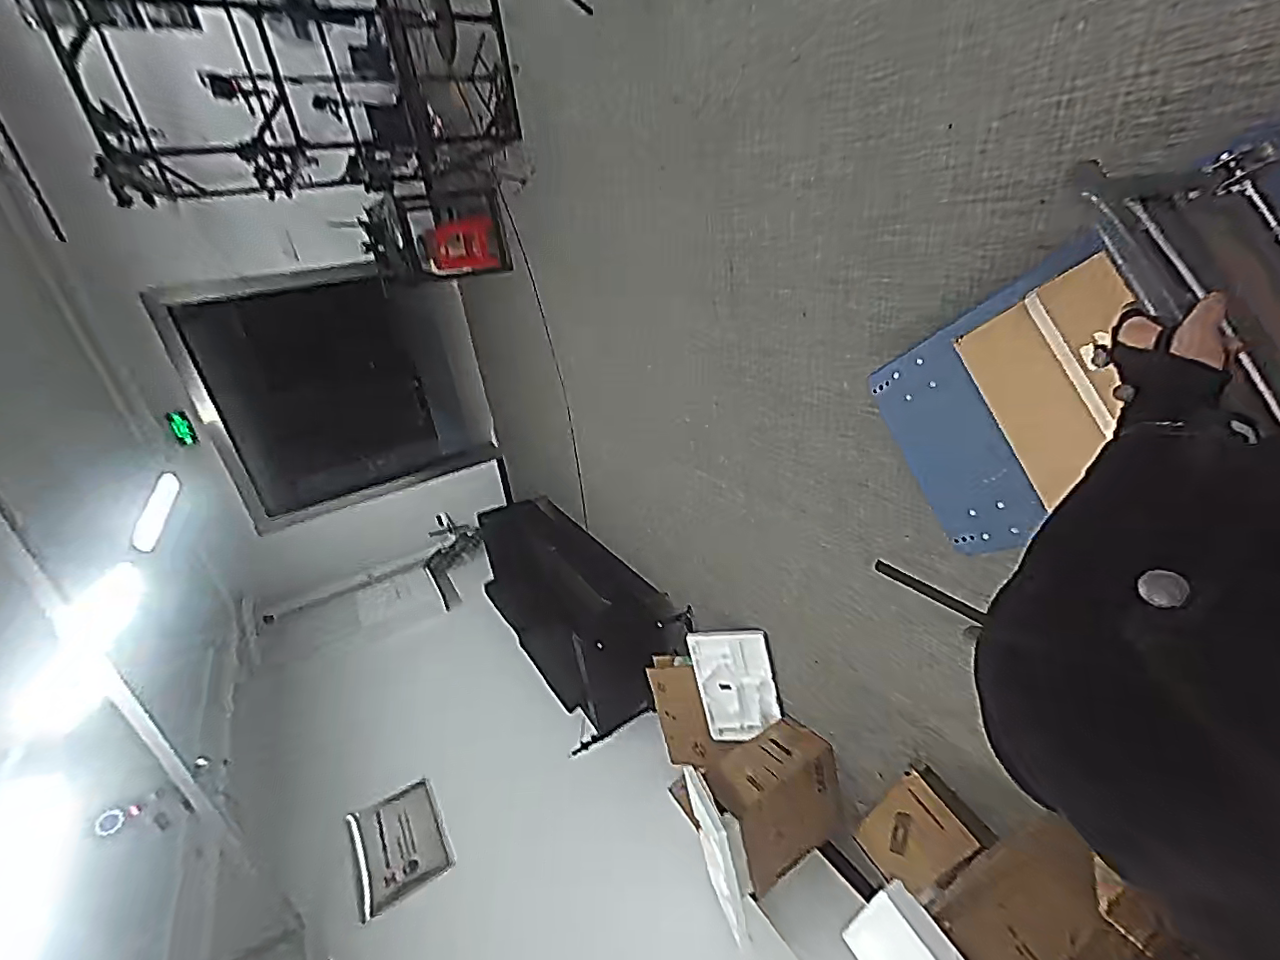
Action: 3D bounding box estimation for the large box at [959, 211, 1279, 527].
[{"bbox_3d":[0.871,-0.181,0.937,0.408,0.320,0.320,66,154,9],"label":"large box"}]
